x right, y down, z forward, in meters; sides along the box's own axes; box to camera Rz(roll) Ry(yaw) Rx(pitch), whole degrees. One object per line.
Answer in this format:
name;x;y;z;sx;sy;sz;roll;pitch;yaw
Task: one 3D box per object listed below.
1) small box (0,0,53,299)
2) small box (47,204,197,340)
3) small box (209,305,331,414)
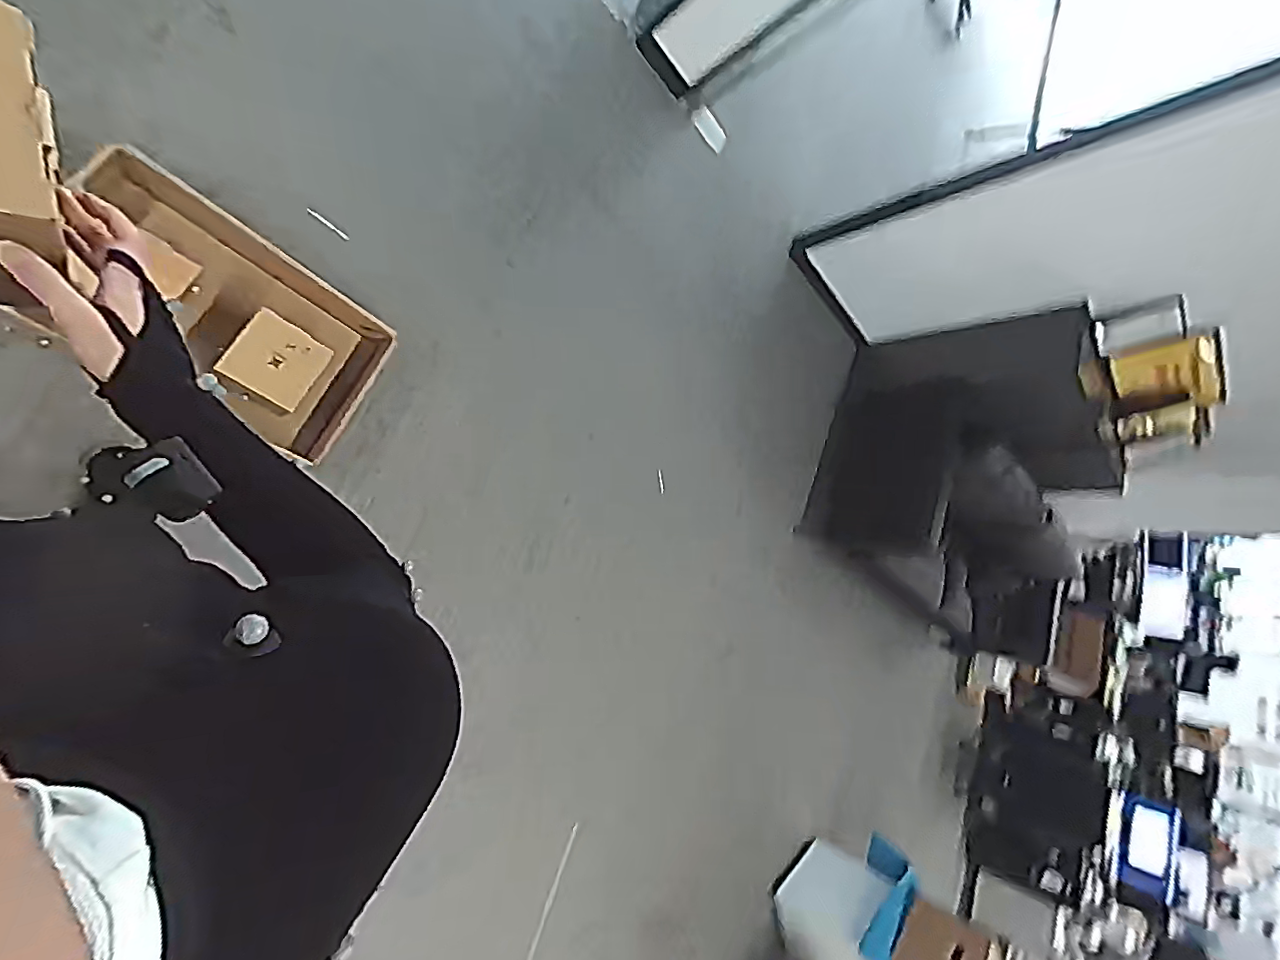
small box;-0.554;-0.245;0.385;0.179;0.176;0.168;-8;86;-45
small box;-1.048;-0.410;1.100;0.168;0.176;0.179;38;66;-36
small box;-0.863;-0.270;1.262;0.168;0.176;0.179;39;66;-34
